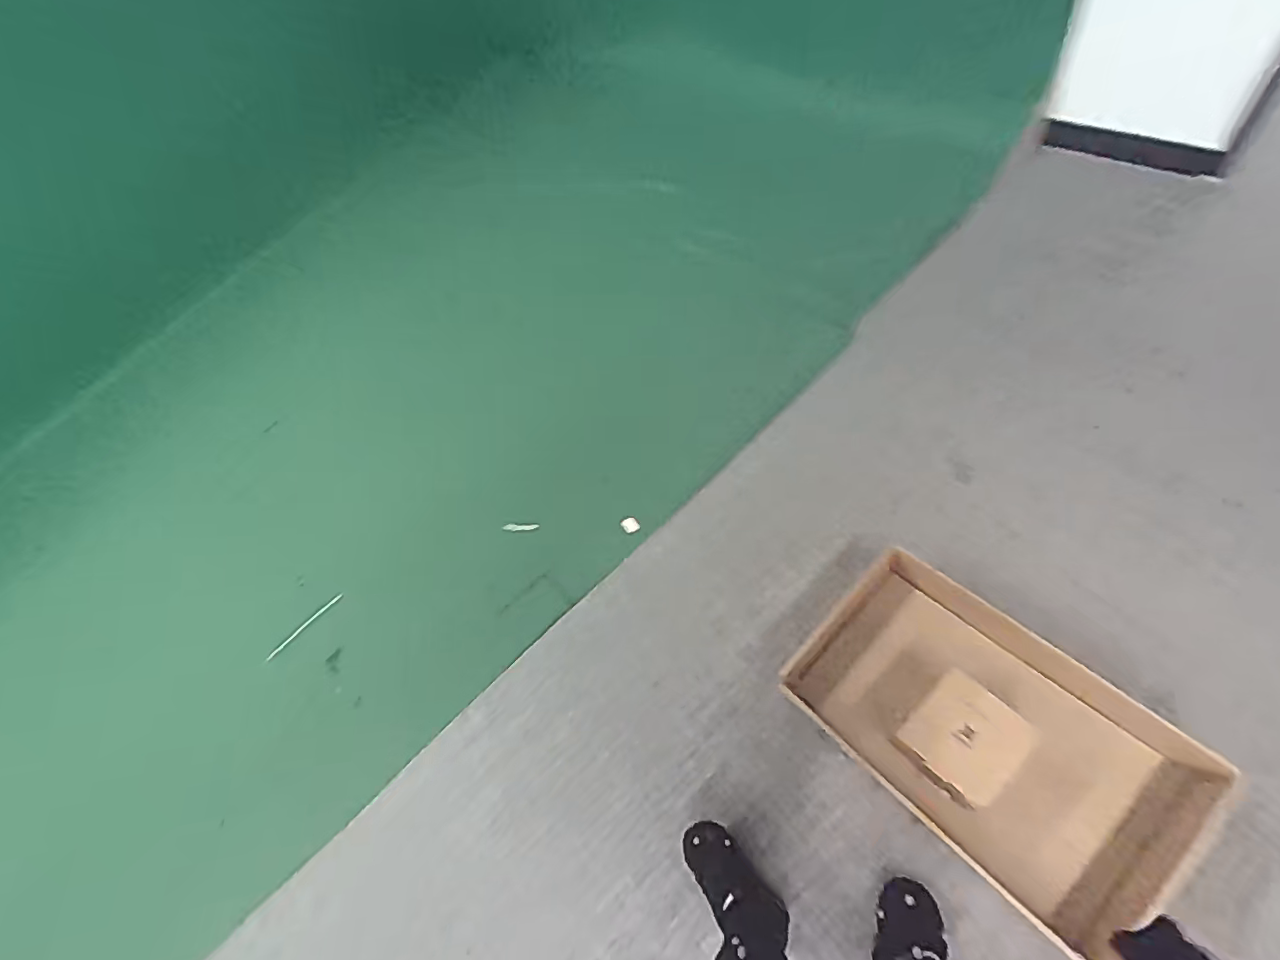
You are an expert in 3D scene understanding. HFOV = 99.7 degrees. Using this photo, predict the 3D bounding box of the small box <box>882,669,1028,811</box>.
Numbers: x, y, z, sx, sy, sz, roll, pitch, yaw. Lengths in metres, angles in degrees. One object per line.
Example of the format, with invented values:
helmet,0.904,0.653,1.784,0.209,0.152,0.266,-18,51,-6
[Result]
small box,0.585,0.496,1.031,0.179,0.176,0.168,-43,58,-9
